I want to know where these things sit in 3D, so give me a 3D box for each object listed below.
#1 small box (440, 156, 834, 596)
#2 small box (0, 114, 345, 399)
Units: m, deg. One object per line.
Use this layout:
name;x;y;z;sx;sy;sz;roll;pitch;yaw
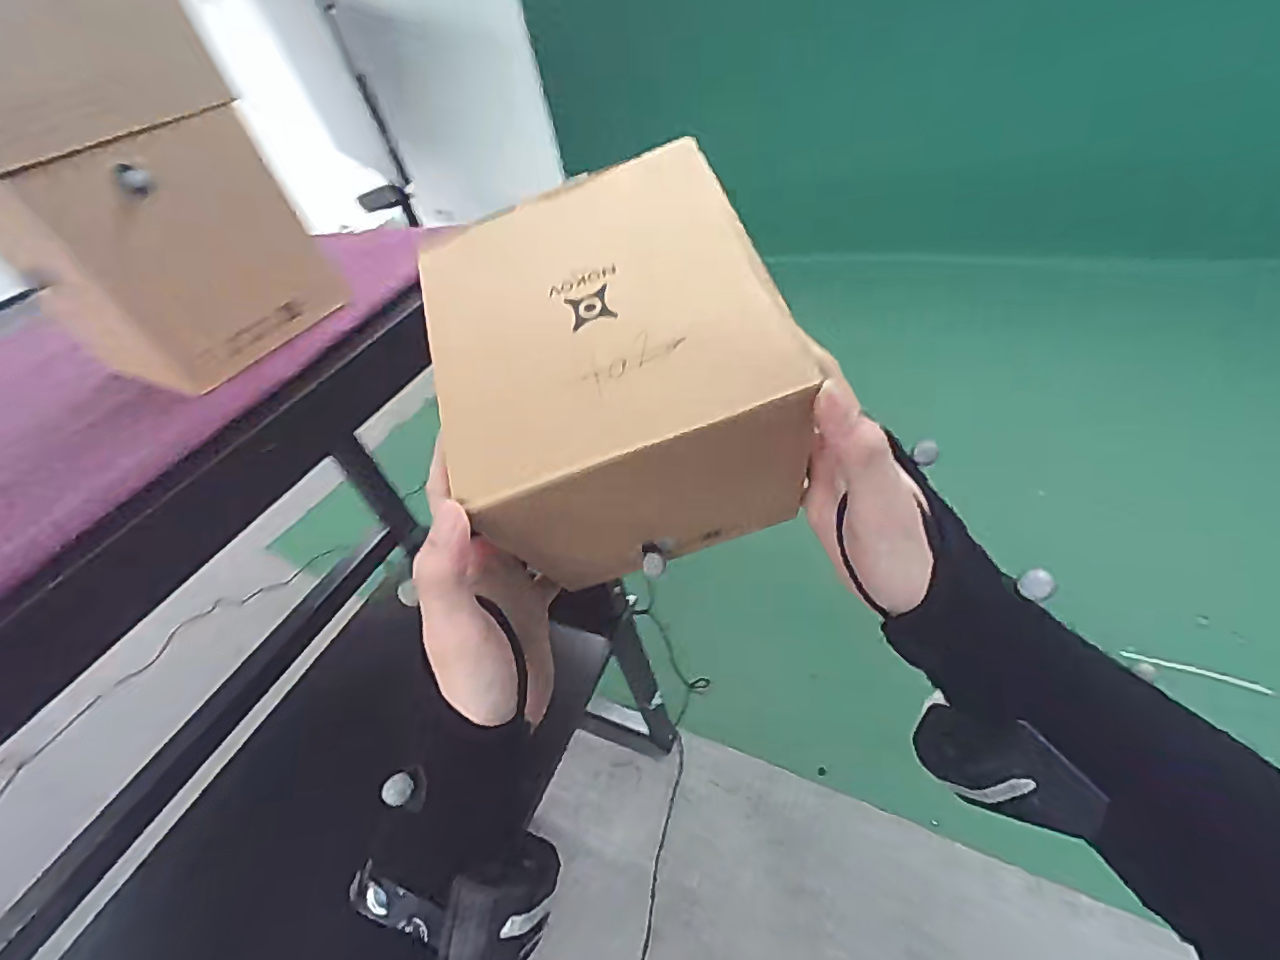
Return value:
small box;-0.001;-0.048;0.335;0.168;0.176;0.179;-19;63;4
small box;-0.409;-0.189;0.470;0.179;0.176;0.168;14;51;27
